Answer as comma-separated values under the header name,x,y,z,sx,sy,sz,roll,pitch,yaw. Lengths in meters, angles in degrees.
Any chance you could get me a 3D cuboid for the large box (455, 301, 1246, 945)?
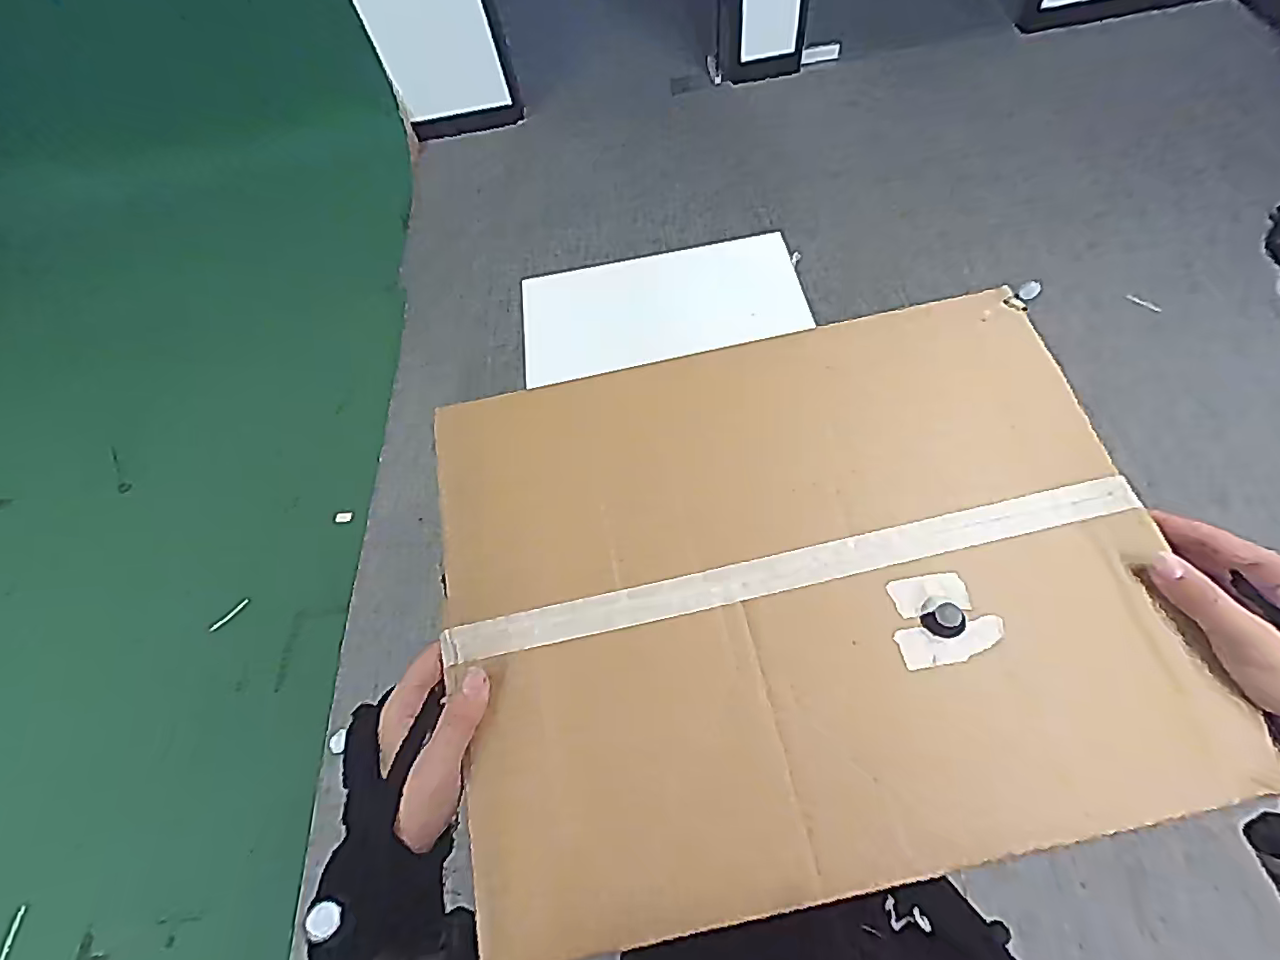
name,x,y,z,sx,sy,sz,roll,pitch,yaw
large box,0.101,0.105,0.468,0.408,0.320,0.320,-12,69,-2
